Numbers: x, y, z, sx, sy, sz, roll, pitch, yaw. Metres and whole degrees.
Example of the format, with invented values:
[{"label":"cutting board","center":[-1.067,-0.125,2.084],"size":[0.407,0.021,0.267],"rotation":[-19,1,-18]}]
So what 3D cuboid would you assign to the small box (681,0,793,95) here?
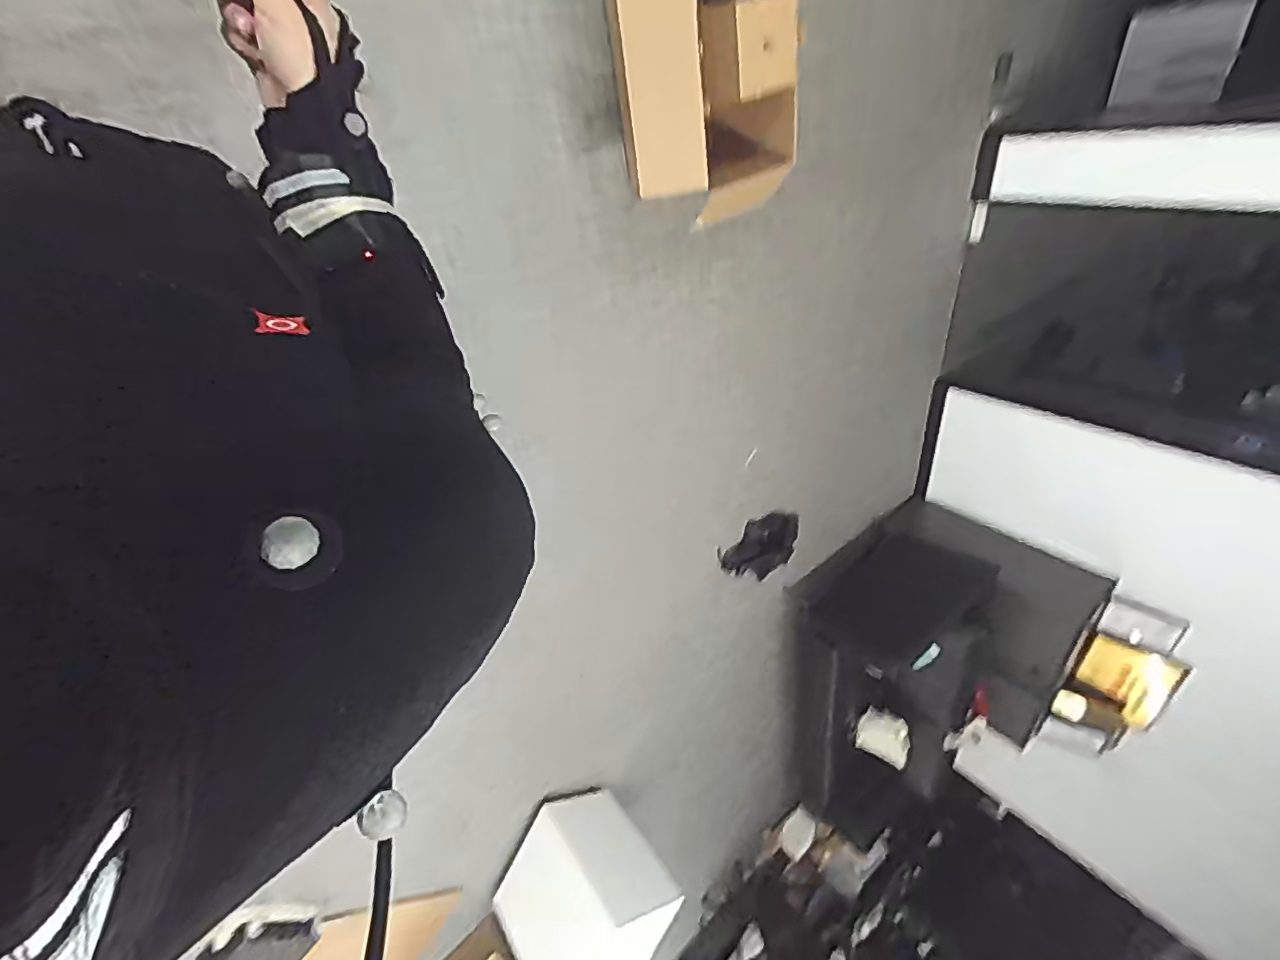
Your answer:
[{"label":"small box","center":[0.215,-0.966,1.191],"size":[0.179,0.176,0.168],"rotation":[-32,132,-22]}]
